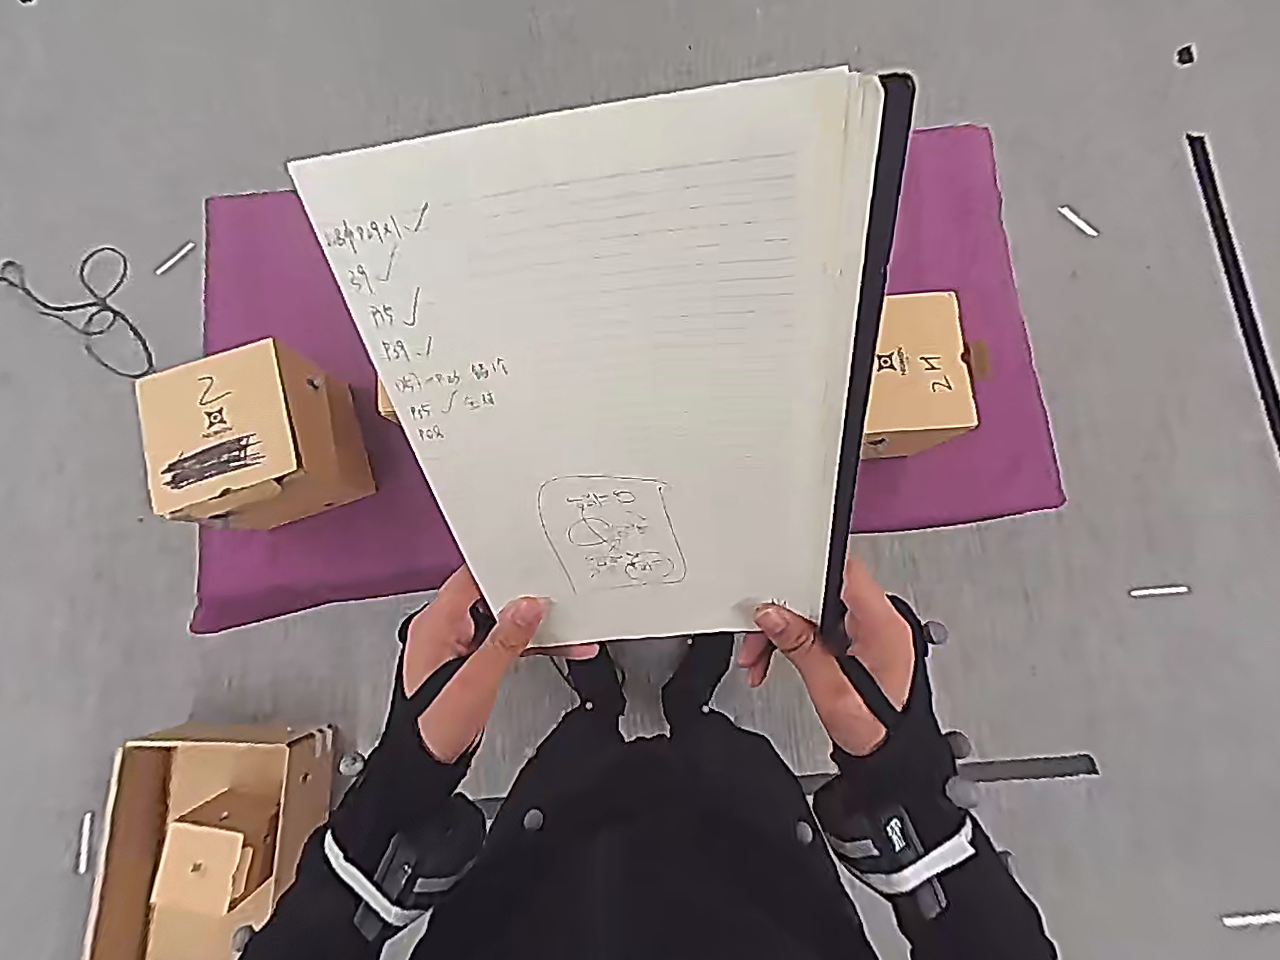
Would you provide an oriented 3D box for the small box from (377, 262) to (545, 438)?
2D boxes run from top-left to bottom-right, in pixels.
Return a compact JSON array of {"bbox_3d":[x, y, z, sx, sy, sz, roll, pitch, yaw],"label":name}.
[{"bbox_3d":[-0.221,-0.156,0.706,0.168,0.176,0.179,-4,80,0],"label":"small box"}]

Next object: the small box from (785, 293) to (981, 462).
[{"bbox_3d":[0.291,-0.120,0.693,0.179,0.176,0.168,-3,81,0],"label":"small box"}]

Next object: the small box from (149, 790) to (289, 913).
[{"bbox_3d":[-0.957,0.845,1.247,0.179,0.176,0.168,9,82,2],"label":"small box"}]
